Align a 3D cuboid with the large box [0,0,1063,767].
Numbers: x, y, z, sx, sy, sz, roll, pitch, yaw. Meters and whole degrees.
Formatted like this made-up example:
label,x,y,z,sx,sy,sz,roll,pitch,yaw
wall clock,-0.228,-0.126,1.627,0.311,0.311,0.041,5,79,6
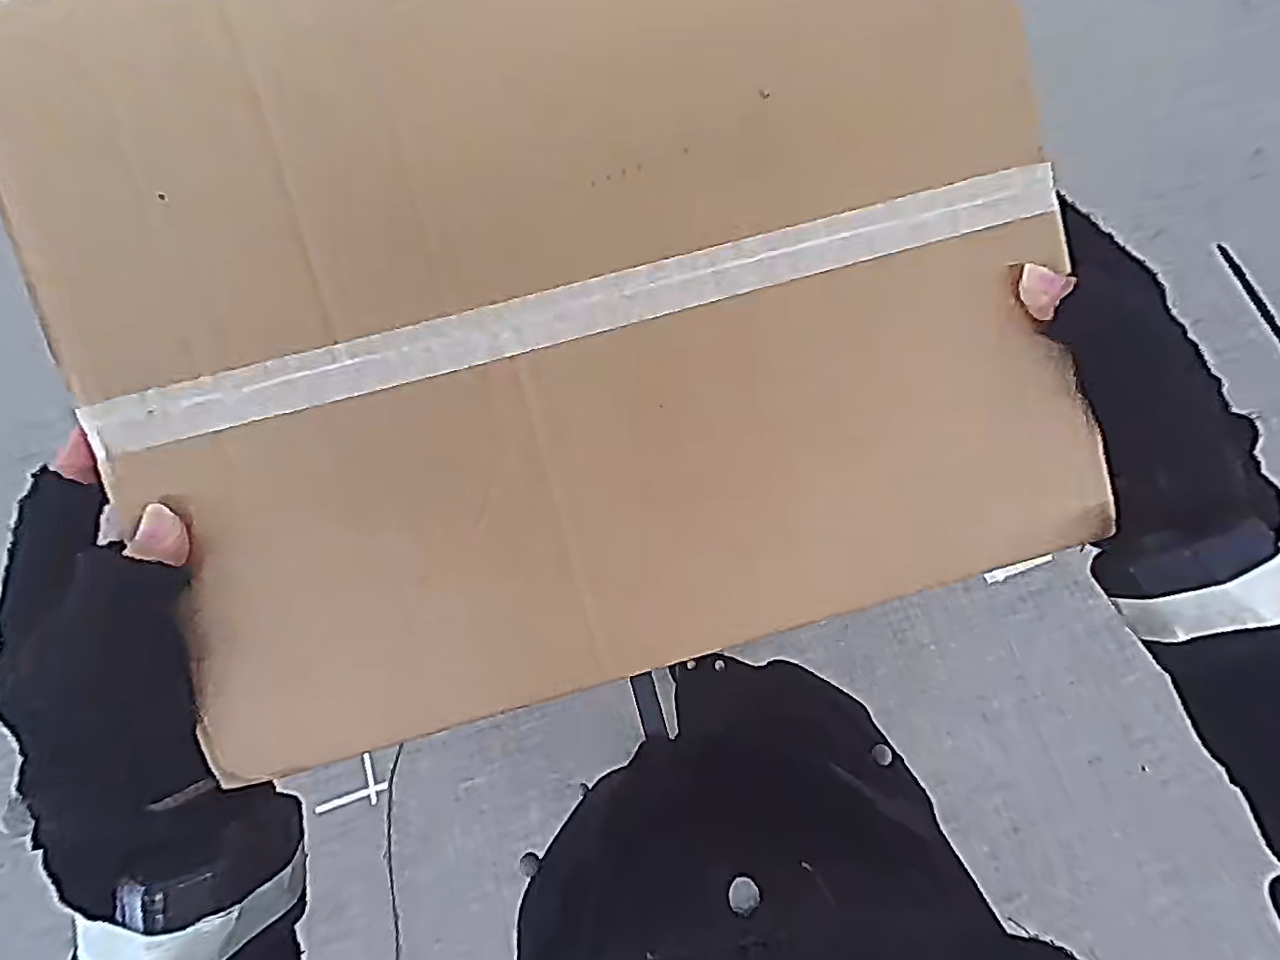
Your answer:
label,x,y,z,sx,sy,sz,roll,pitch,yaw
large box,-0.032,-0.084,0.383,0.408,0.320,0.320,-15,95,-3
